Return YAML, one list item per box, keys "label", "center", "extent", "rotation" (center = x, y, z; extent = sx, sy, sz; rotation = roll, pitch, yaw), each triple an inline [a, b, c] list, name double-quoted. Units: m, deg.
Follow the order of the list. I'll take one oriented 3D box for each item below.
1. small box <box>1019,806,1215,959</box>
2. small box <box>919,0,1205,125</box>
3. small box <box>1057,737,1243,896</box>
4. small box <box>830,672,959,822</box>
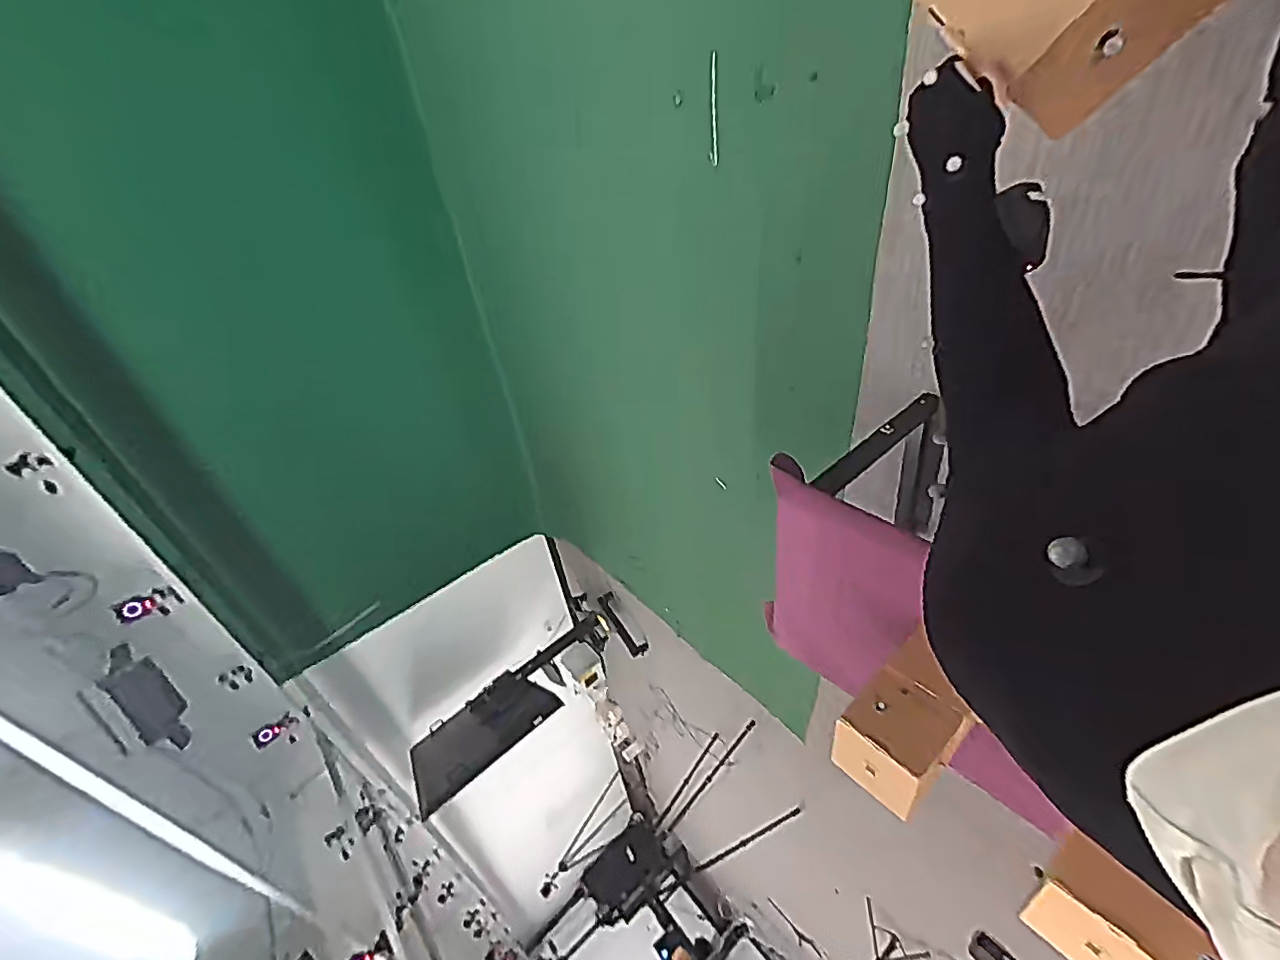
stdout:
- label: "small box"
  center: [0.738, 0.663, 0.843]
  extent: [0.168, 0.176, 0.179]
  rotation: [30, 141, 42]
- label: "small box"
  center: [0.407, -0.483, 0.510]
  extent: [0.179, 0.176, 0.168]
  rotation: [-43, 64, 46]
- label: "small box"
  center: [0.860, 0.585, 0.917]
  extent: [0.168, 0.176, 0.179]
  rotation: [31, 142, 40]
- label: "small box"
  center: [0.504, 0.523, 1.078]
  extent: [0.168, 0.176, 0.179]
  rotation: [31, 143, 41]
